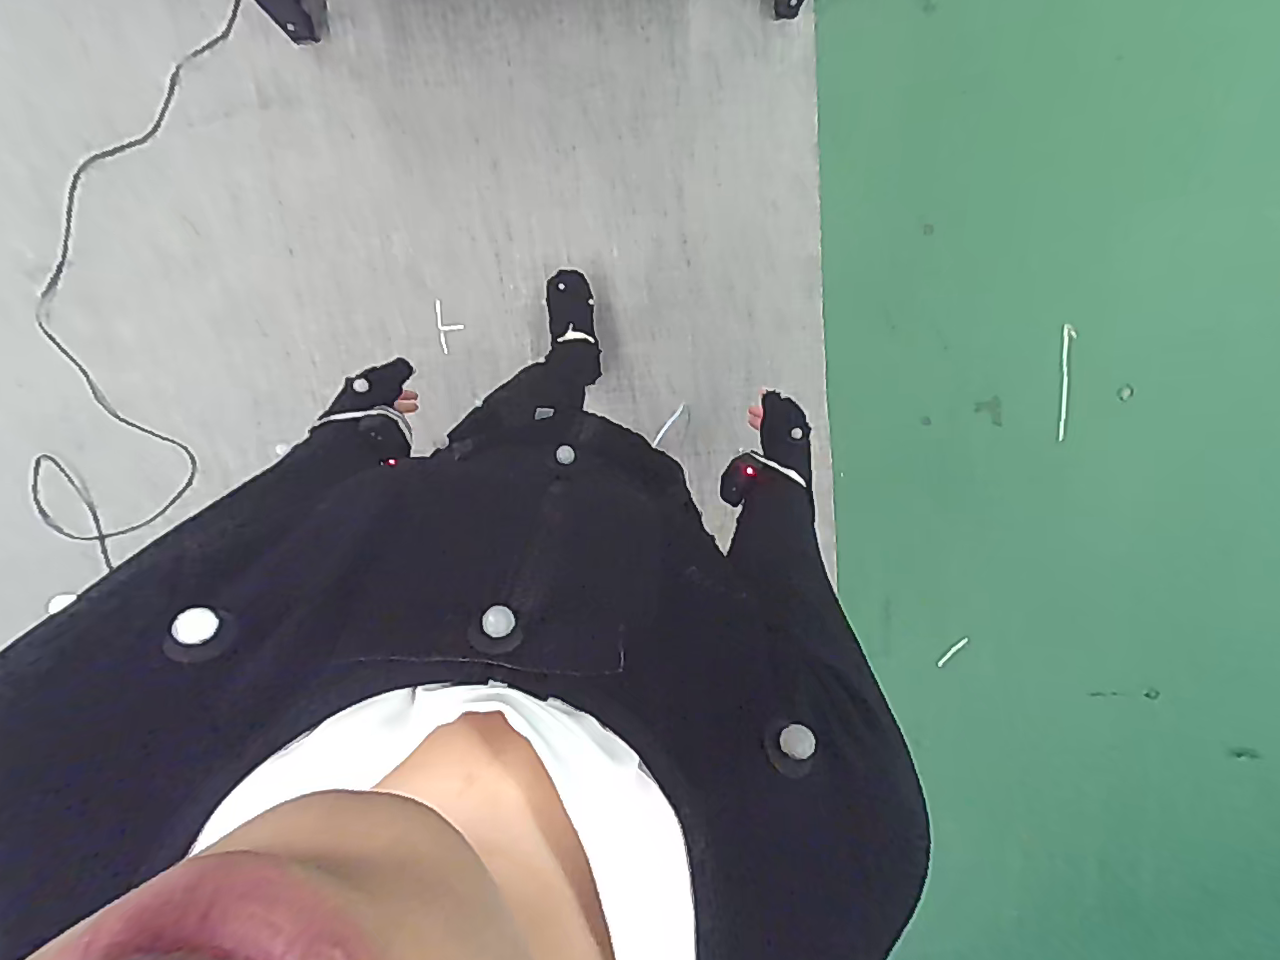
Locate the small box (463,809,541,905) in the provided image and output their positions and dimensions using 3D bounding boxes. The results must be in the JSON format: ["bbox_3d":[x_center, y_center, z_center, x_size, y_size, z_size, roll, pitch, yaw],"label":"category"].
[{"bbox_3d":[-0.381,1.066,1.523,0.168,0.176,0.179,-12,101,-3],"label":"small box"}]
